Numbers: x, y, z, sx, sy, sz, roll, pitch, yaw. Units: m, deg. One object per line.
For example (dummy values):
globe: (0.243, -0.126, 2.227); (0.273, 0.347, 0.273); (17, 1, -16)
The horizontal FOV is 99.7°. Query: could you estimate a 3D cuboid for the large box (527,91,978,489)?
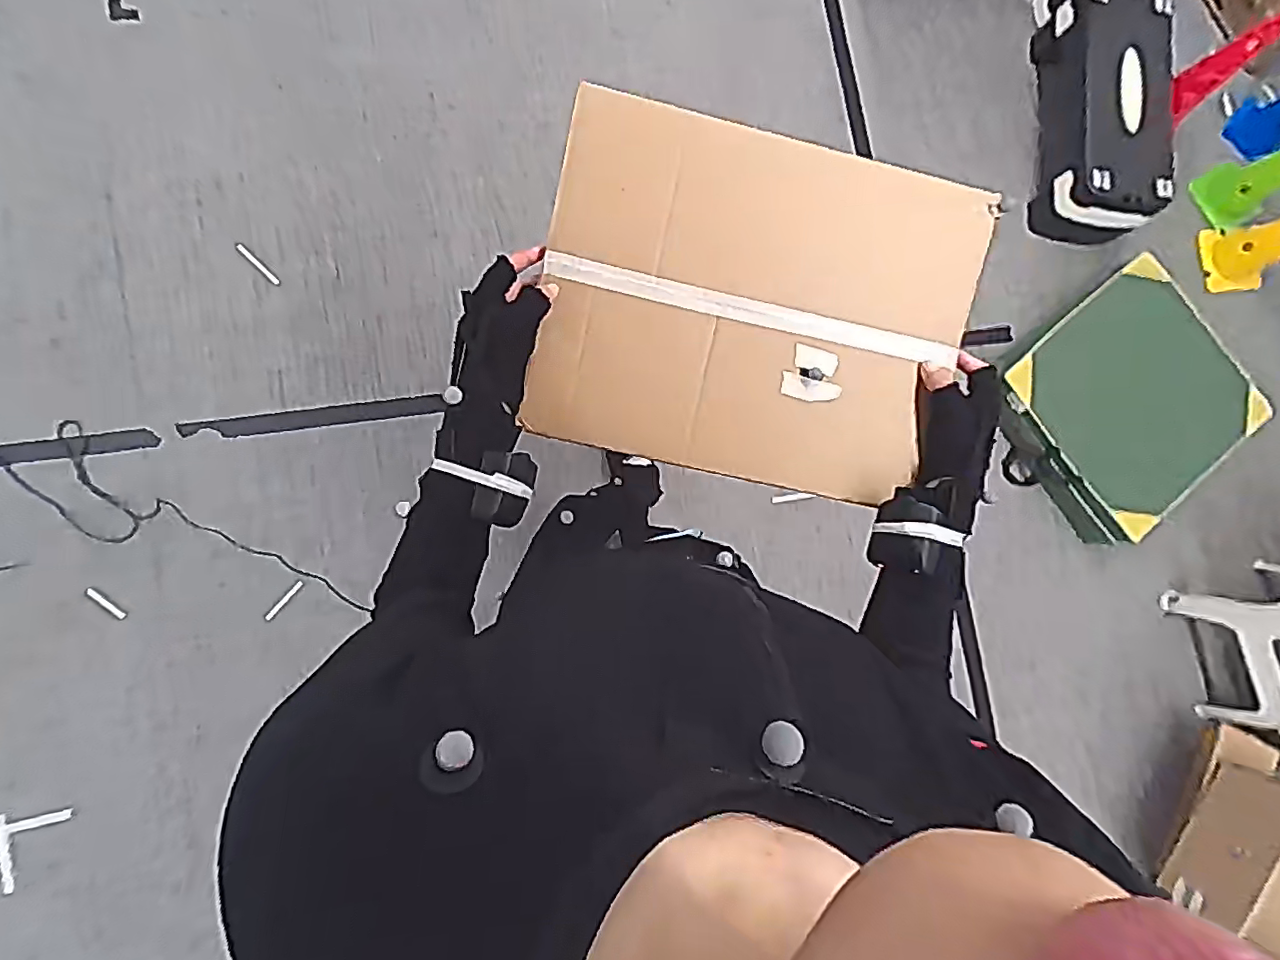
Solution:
large box: (0.099, -0.195, 0.679); (0.408, 0.320, 0.320); (12, 98, -5)
